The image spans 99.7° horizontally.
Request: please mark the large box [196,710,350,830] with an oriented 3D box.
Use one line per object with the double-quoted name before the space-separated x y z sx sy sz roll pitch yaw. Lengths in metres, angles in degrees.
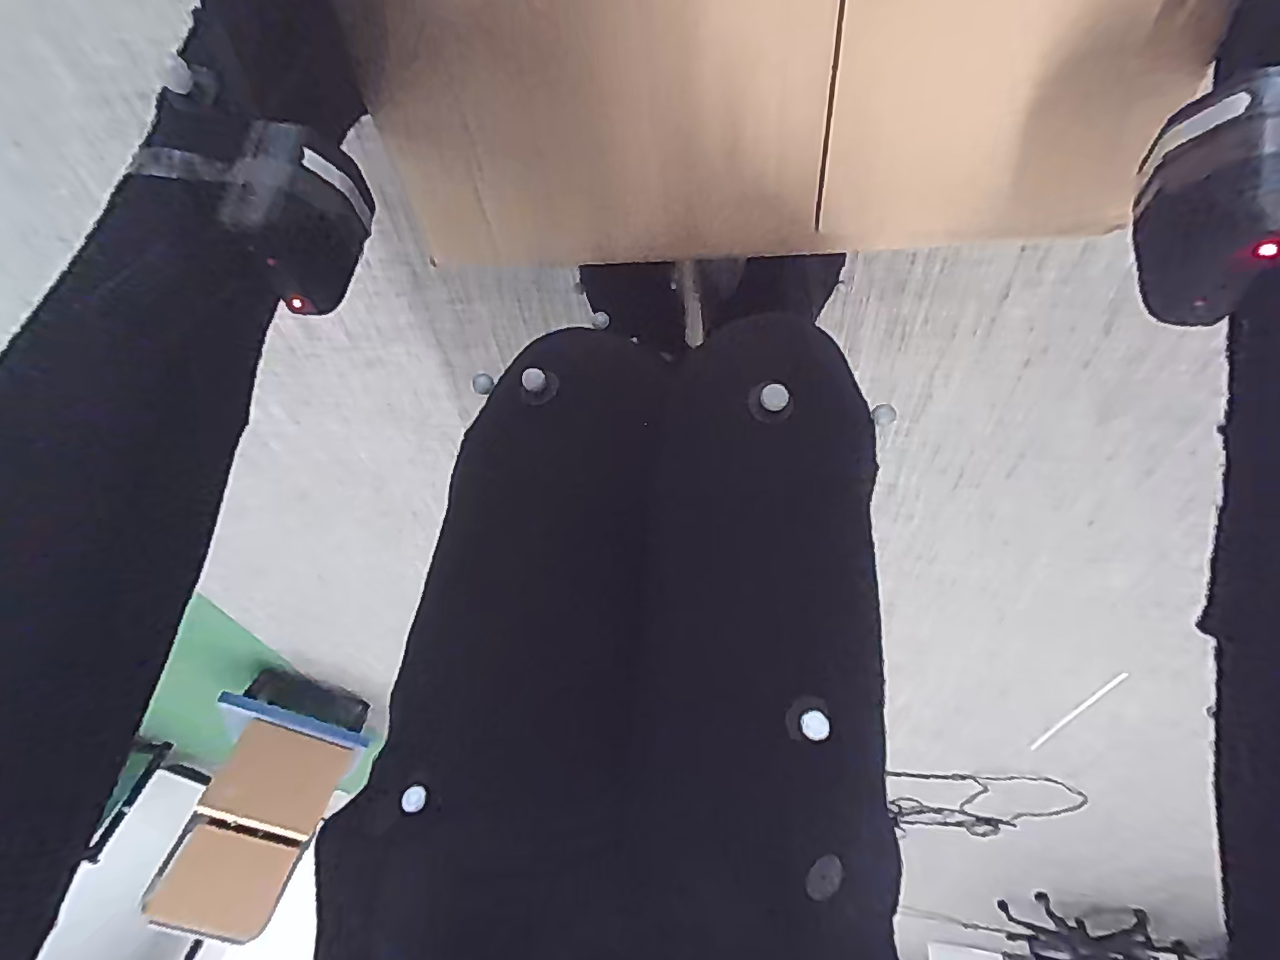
"large box" -1.444 1.166 2.163 0.408 0.320 0.320 30 138 -16
